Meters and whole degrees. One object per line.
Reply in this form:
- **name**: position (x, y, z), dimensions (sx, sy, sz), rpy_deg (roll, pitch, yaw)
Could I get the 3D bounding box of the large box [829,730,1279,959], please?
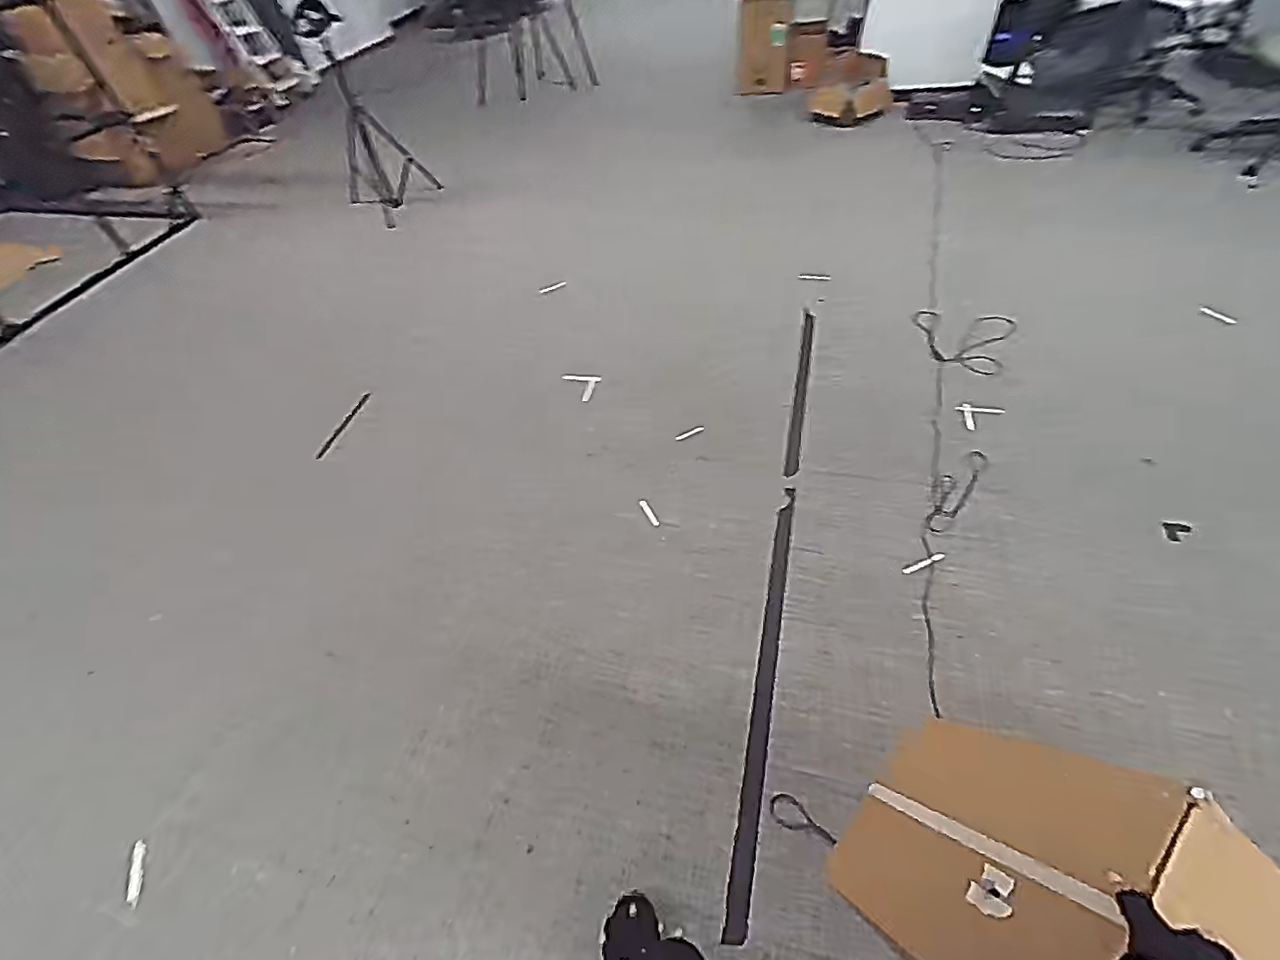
- **large box**: position (0.541, 0.591, 0.695), dimensions (0.320, 0.408, 0.320), rpy_deg (-43, 90, -18)
